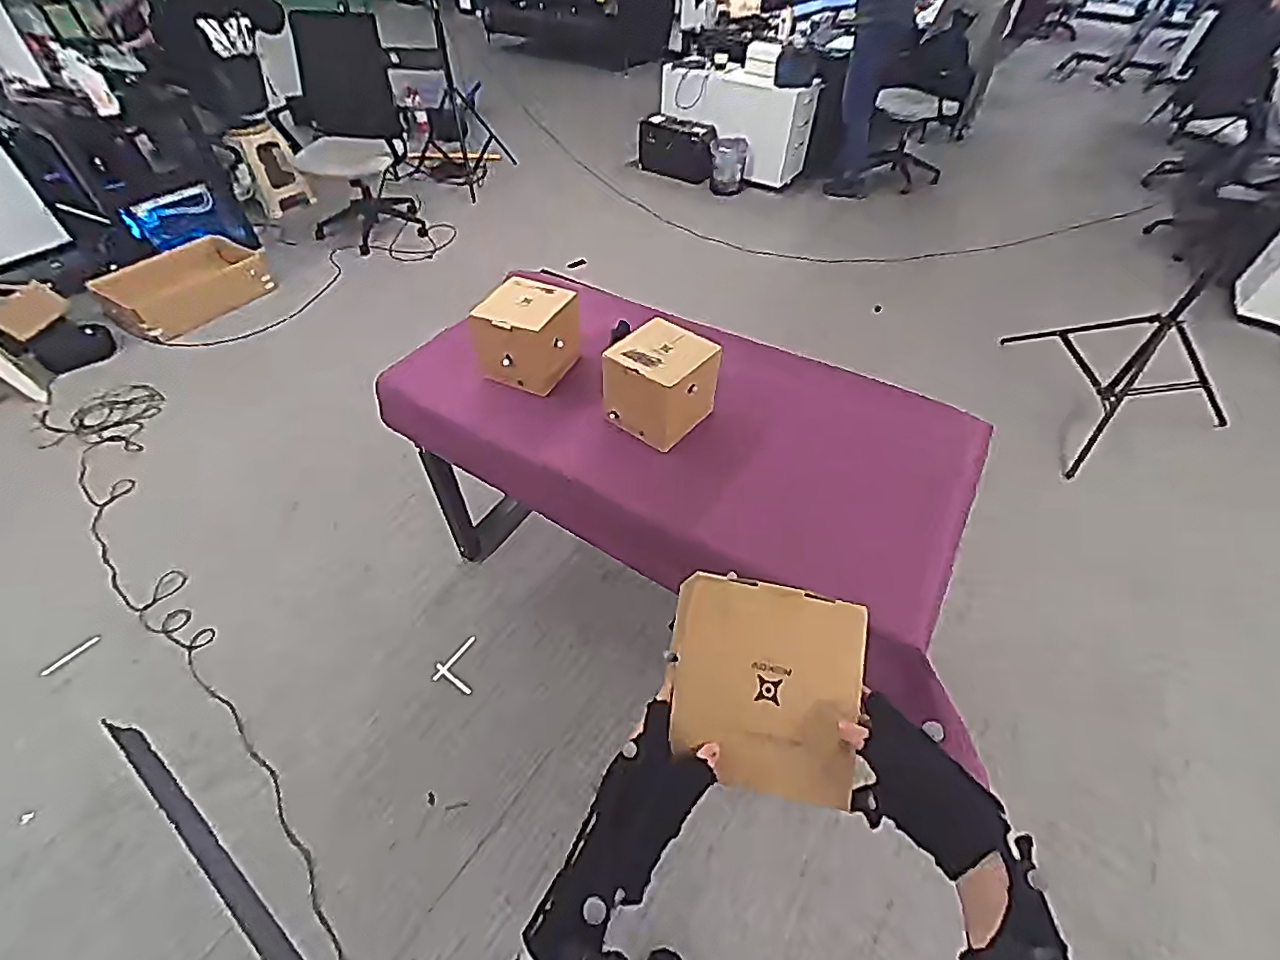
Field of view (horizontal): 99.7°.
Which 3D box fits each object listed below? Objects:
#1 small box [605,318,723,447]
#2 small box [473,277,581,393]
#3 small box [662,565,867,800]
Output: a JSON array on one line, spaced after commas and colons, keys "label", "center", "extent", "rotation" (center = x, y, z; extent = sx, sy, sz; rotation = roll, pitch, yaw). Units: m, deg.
[{"label": "small box", "center": [0.048, -0.197, 1.109], "extent": [0.168, 0.176, 0.179], "rotation": [32, 54, 24]}, {"label": "small box", "center": [-0.240, -0.322, 1.210], "extent": [0.168, 0.176, 0.179], "rotation": [19, 51, 14]}, {"label": "small box", "center": [0.118, 0.200, 0.567], "extent": [0.168, 0.176, 0.179], "rotation": [11, 75, 4]}]
